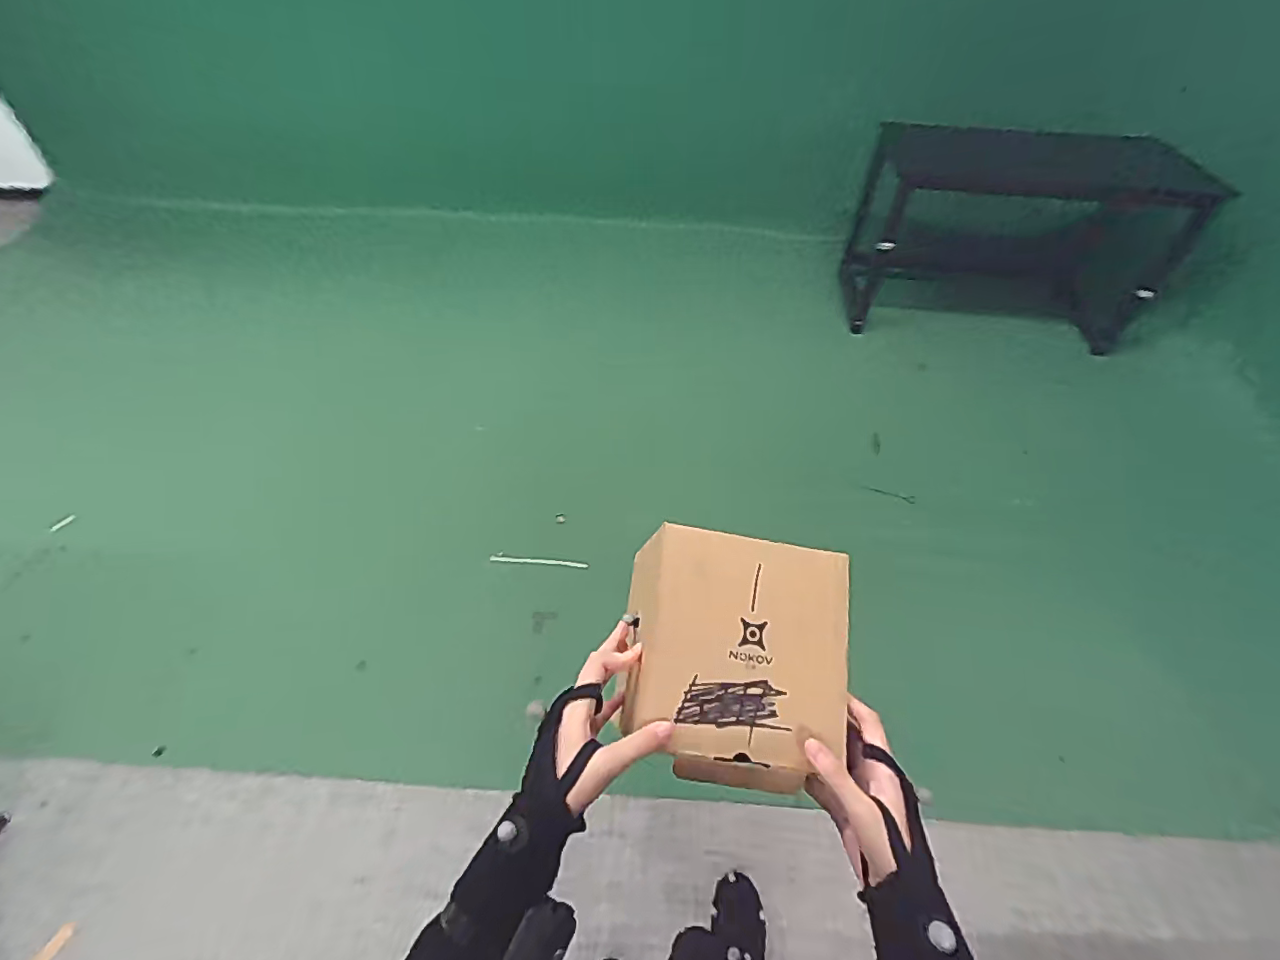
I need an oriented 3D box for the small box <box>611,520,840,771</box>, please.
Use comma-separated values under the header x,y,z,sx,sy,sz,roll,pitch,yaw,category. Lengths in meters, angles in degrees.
x,y,z,sx,sy,sz,roll,pitch,yaw,category
0.069,0.153,0.510,0.168,0.176,0.179,11,70,-6,small box
